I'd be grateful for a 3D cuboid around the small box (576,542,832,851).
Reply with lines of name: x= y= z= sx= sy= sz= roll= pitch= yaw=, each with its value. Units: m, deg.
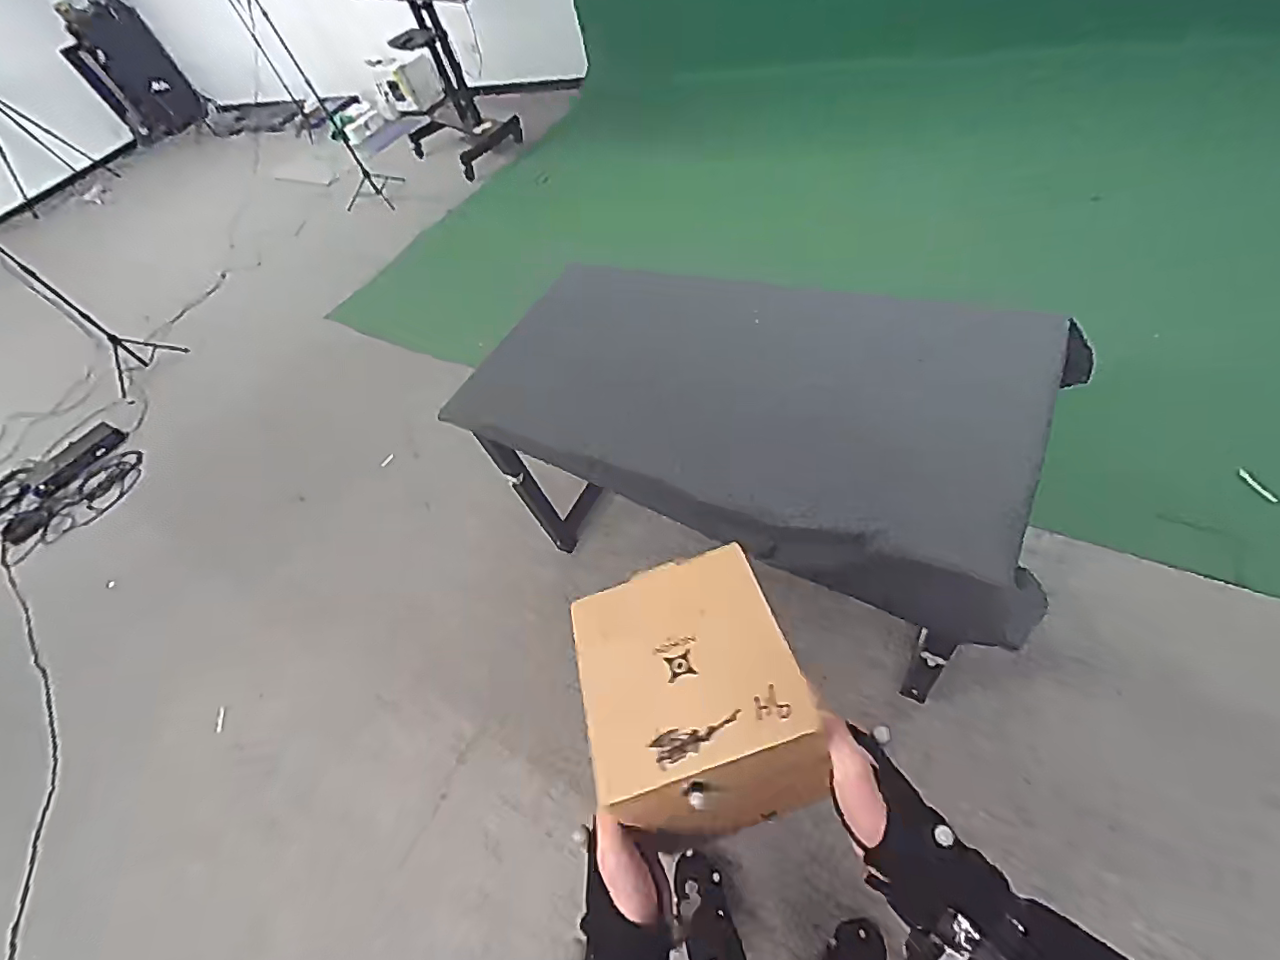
small box: x=0.056 y=0.193 z=0.486 sx=0.168 sy=0.176 sz=0.179 roll=-21 pitch=42 yaw=0
